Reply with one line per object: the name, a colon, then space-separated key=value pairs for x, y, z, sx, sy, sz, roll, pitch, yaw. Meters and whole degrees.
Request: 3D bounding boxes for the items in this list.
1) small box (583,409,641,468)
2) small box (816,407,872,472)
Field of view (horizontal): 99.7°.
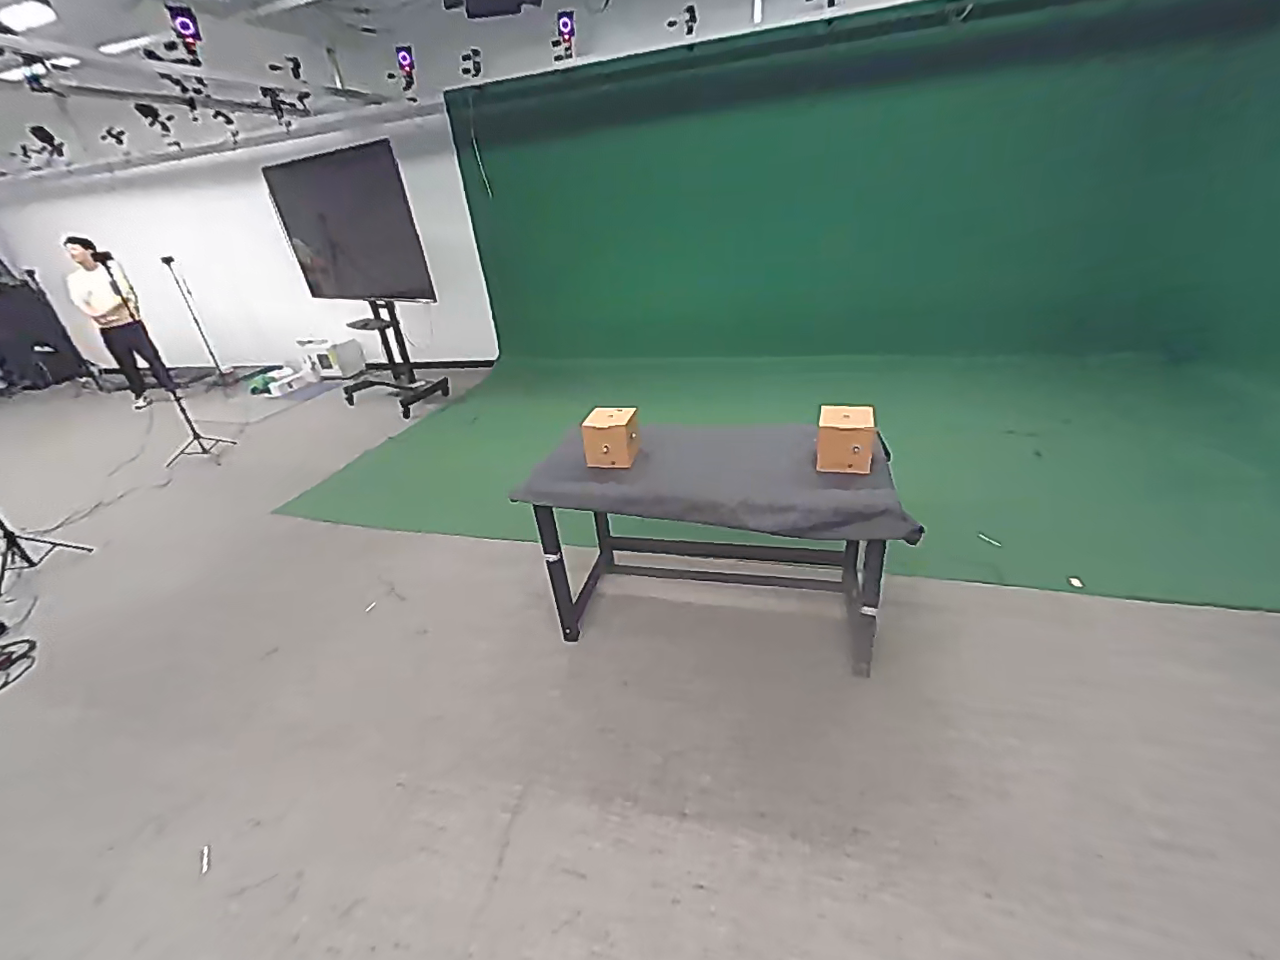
small box: x=-0.097 y=-0.154 z=2.022 sx=0.168 sy=0.176 sz=0.179 roll=2 pitch=30 yaw=14
small box: x=0.682 y=-0.136 z=1.811 sx=0.168 sy=0.176 sz=0.179 roll=4 pitch=29 yaw=18
